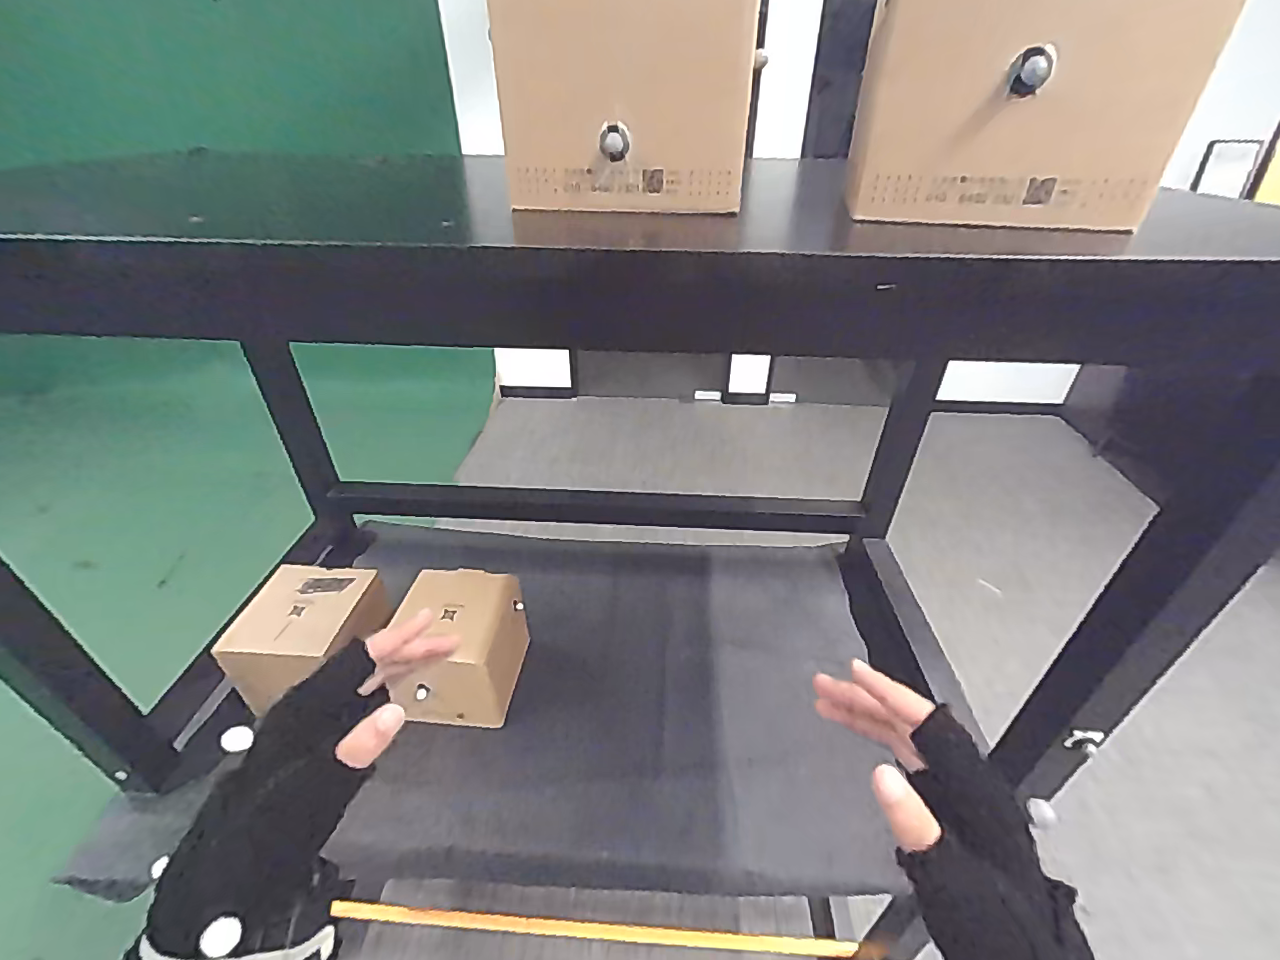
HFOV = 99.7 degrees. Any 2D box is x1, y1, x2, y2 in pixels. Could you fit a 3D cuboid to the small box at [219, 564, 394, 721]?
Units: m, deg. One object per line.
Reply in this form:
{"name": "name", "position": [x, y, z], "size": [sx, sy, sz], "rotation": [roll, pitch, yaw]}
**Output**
{"name": "small box", "position": [-0.517, 0.260, 0.878], "size": [0.168, 0.176, 0.179], "rotation": [3, 35, 3]}

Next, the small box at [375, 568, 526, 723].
{"name": "small box", "position": [-0.290, 0.268, 0.876], "size": [0.168, 0.176, 0.179], "rotation": [3, 34, 3]}

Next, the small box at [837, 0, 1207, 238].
{"name": "small box", "position": [0.241, -0.275, 0.379], "size": [0.168, 0.176, 0.179], "rotation": [9, 35, 12]}
